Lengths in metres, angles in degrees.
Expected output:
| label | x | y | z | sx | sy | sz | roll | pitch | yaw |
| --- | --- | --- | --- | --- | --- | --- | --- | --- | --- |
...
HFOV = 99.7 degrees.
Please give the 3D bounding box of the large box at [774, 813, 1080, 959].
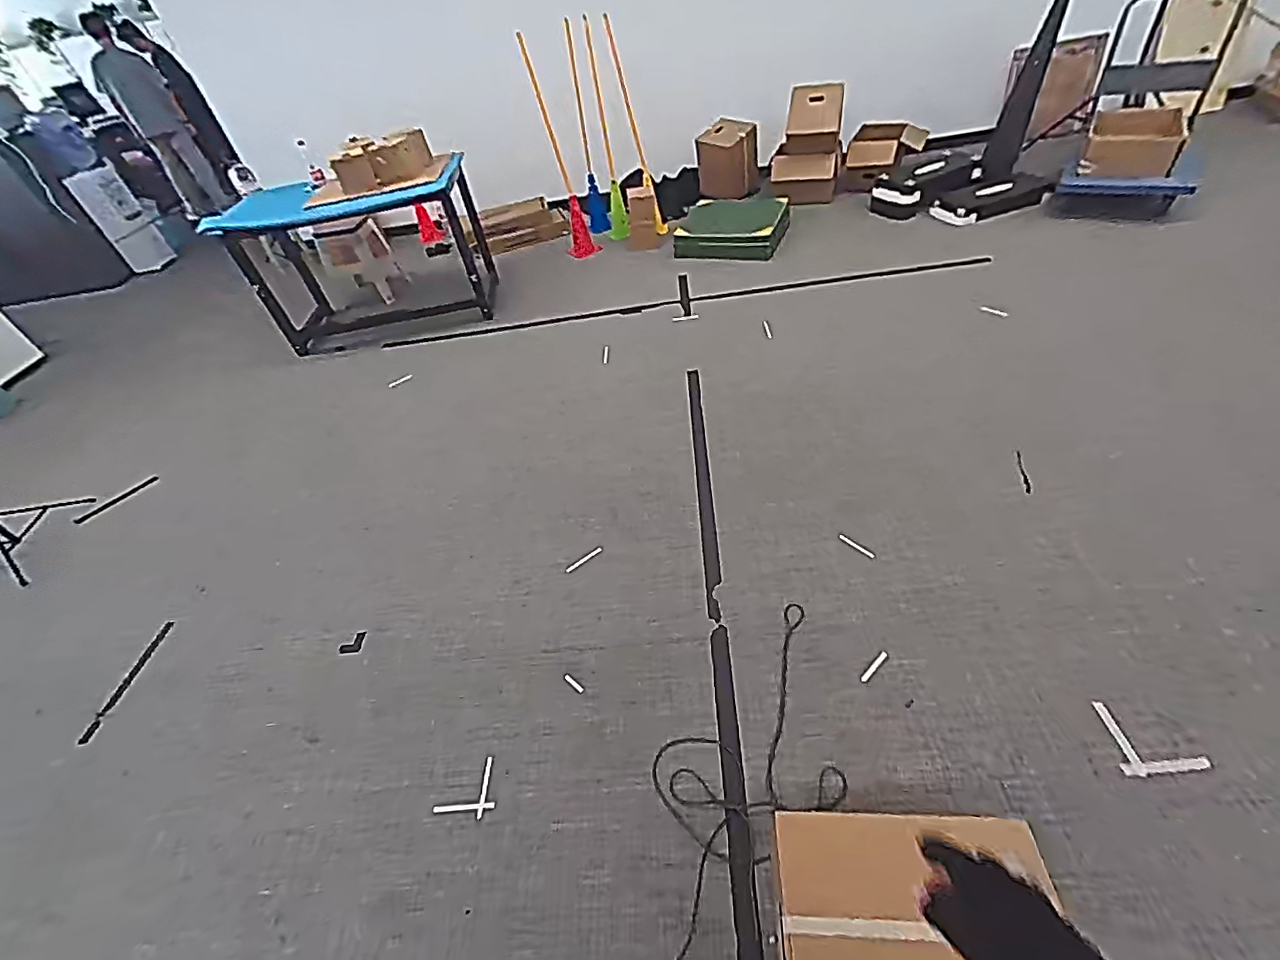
| label | x | y | z | sx | sy | sz | roll | pitch | yaw |
| --- | --- | --- | --- | --- | --- | --- | --- | --- | --- |
| large box | 0.449 | 0.784 | 0.908 | 0.408 | 0.320 | 0.320 | -3 | 44 | 9 |
